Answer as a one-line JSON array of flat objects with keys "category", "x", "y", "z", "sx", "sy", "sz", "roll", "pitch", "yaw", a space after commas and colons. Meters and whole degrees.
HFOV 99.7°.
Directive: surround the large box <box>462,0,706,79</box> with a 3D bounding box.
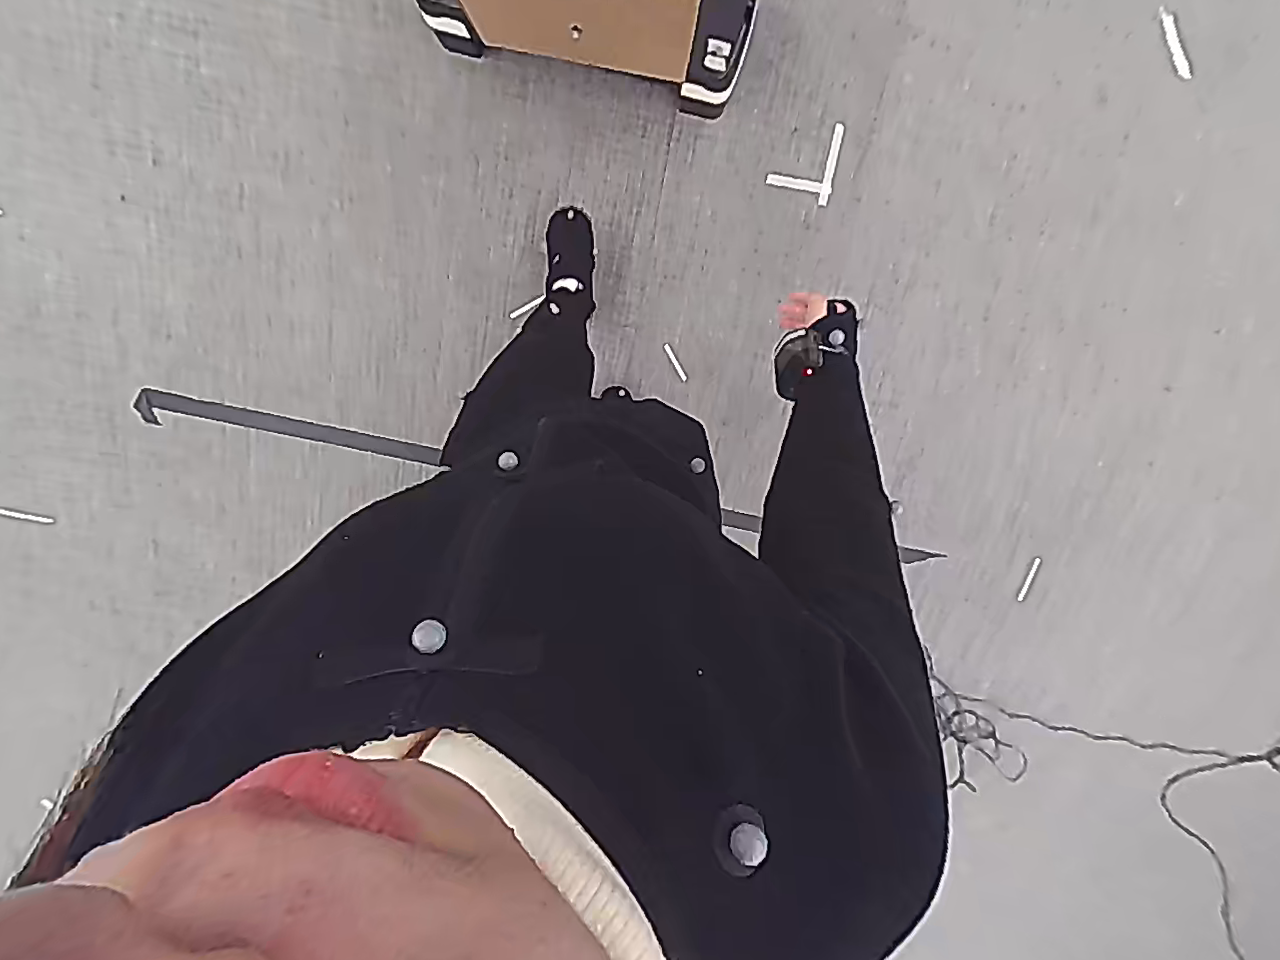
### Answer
[{"category": "large box", "x": -0.078, "y": -0.915, "z": 0.877, "sx": 0.408, "sy": 0.320, "sz": 0.320, "roll": 9, "pitch": 105, "yaw": -2}]
